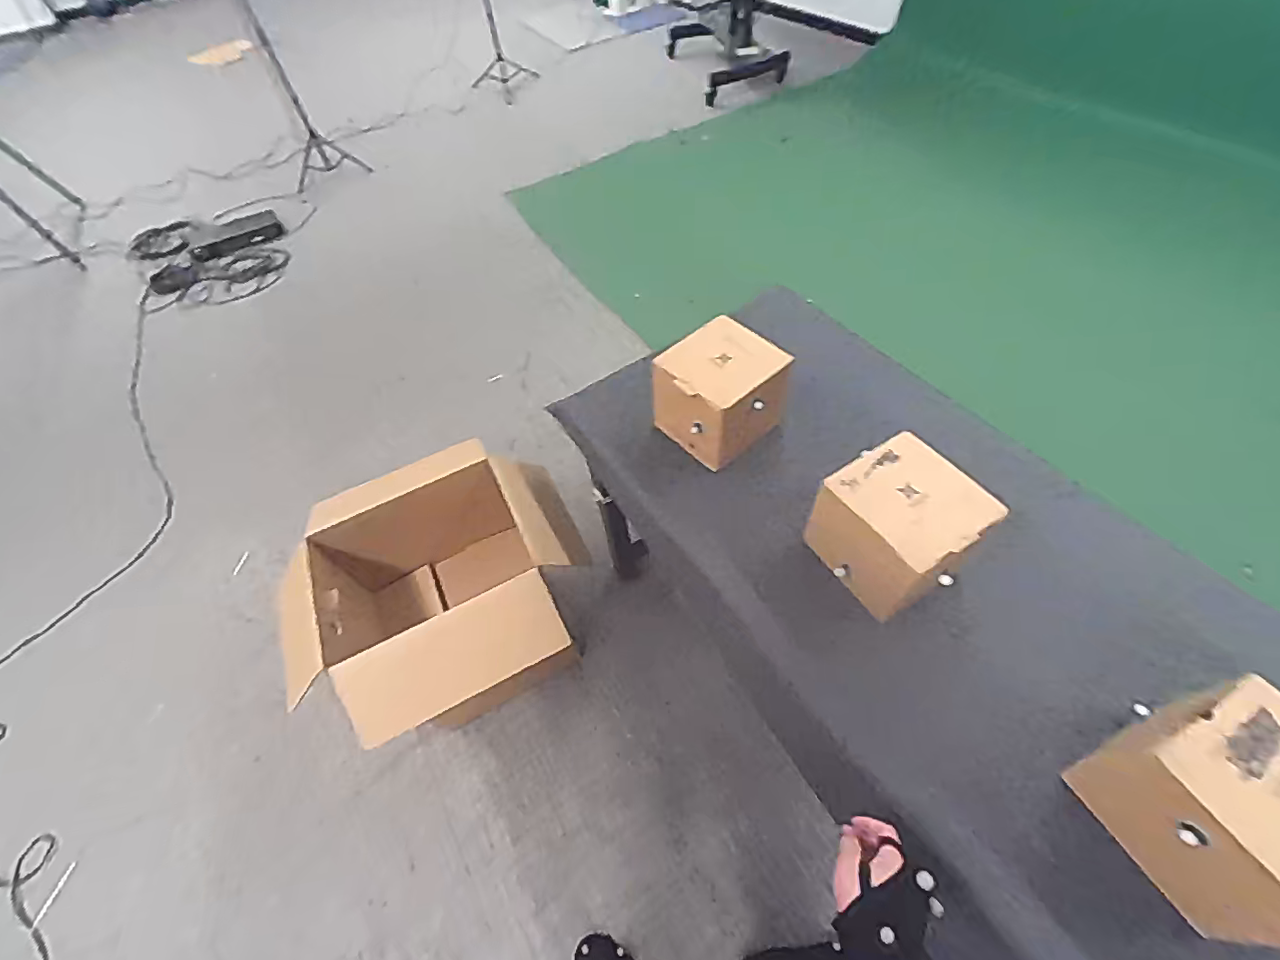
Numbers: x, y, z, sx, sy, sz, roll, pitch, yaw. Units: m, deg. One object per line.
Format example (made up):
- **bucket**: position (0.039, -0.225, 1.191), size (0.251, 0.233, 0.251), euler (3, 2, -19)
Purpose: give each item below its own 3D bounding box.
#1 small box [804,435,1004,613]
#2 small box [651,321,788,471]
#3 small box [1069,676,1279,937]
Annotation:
- **small box**: position (0.371, 0.074, 0.796), size (0.168, 0.176, 0.179), euler (-28, 57, -15)
- **small box**: position (0.140, -0.149, 0.980), size (0.179, 0.176, 0.168), euler (-37, 61, -22)
- **small box**: position (0.621, 0.346, 0.572), size (0.168, 0.176, 0.179), euler (-25, 56, -12)
